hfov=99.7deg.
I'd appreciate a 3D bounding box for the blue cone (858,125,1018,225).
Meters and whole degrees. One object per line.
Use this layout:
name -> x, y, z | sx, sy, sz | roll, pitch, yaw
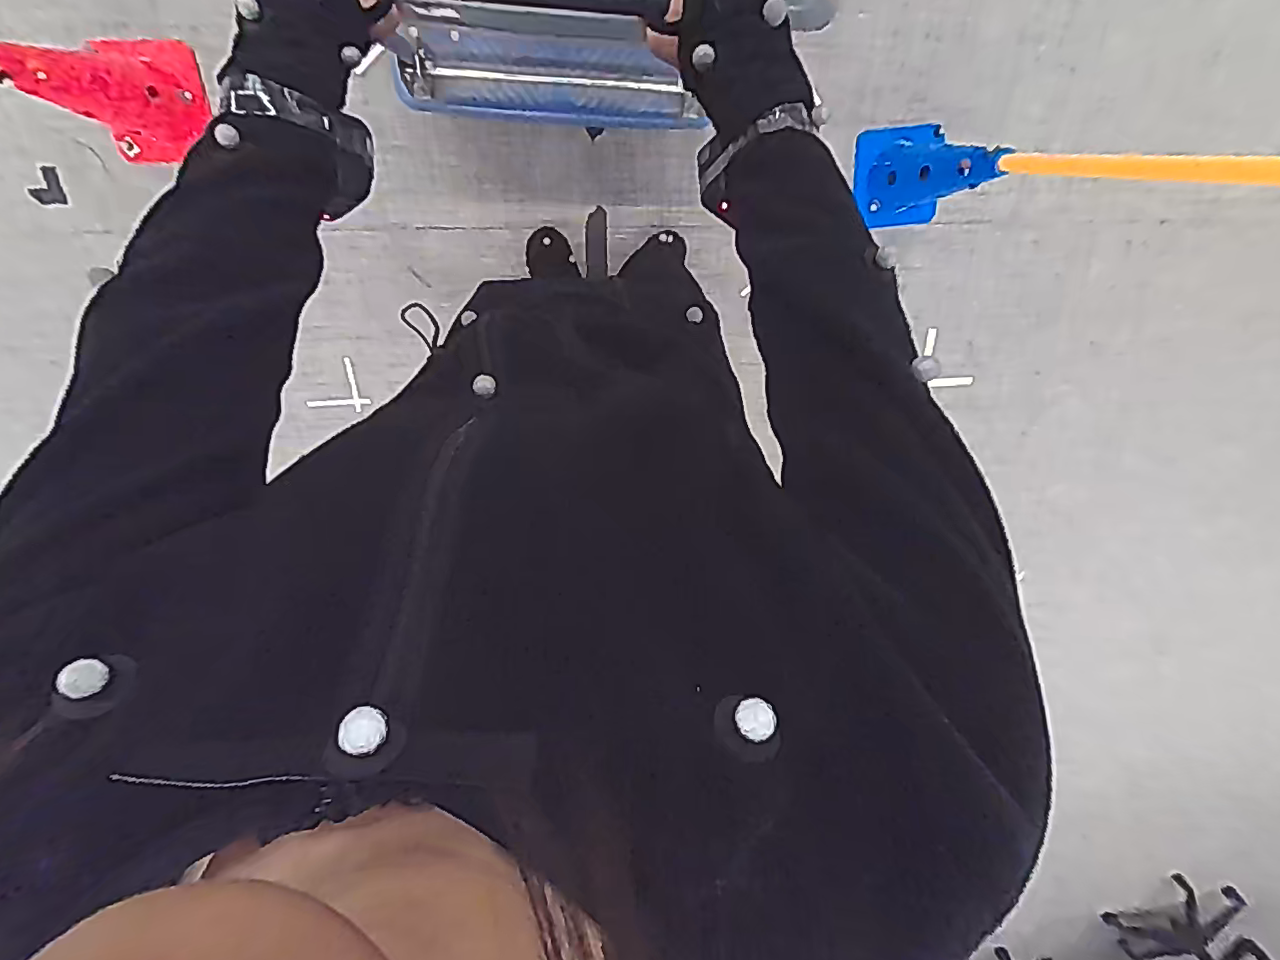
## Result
blue cone -> 0.600, -0.618, 1.073 | 0.193, 0.380, 0.192 | -5, 115, -3
